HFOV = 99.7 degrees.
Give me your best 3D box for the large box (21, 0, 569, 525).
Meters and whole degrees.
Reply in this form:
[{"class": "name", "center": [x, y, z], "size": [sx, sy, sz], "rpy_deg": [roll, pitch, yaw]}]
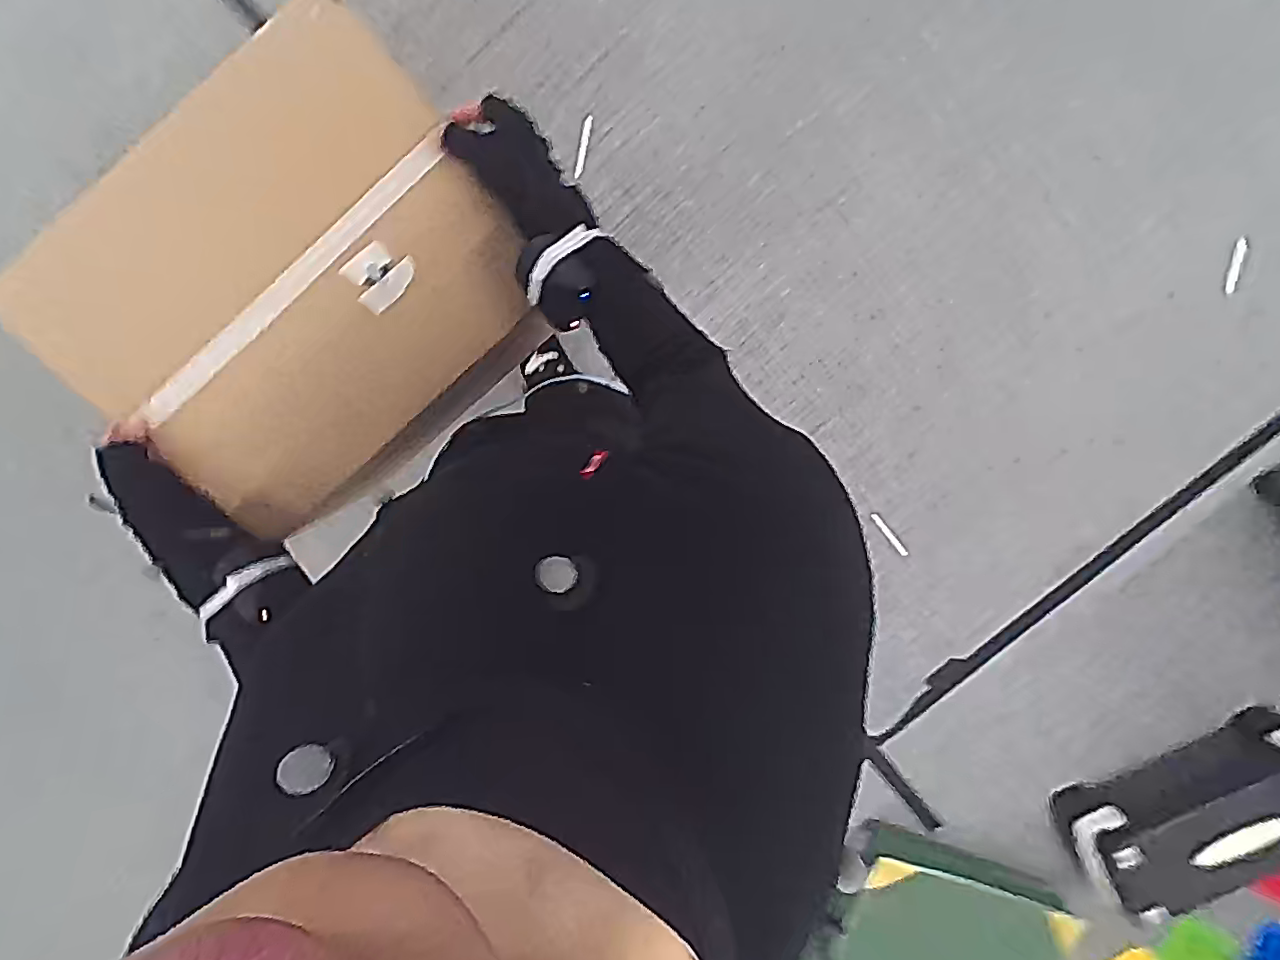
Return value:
[{"class": "large box", "center": [-0.333, -0.217, 0.655], "size": [0.408, 0.320, 0.320], "rpy_deg": [-42, 103, 2]}]
